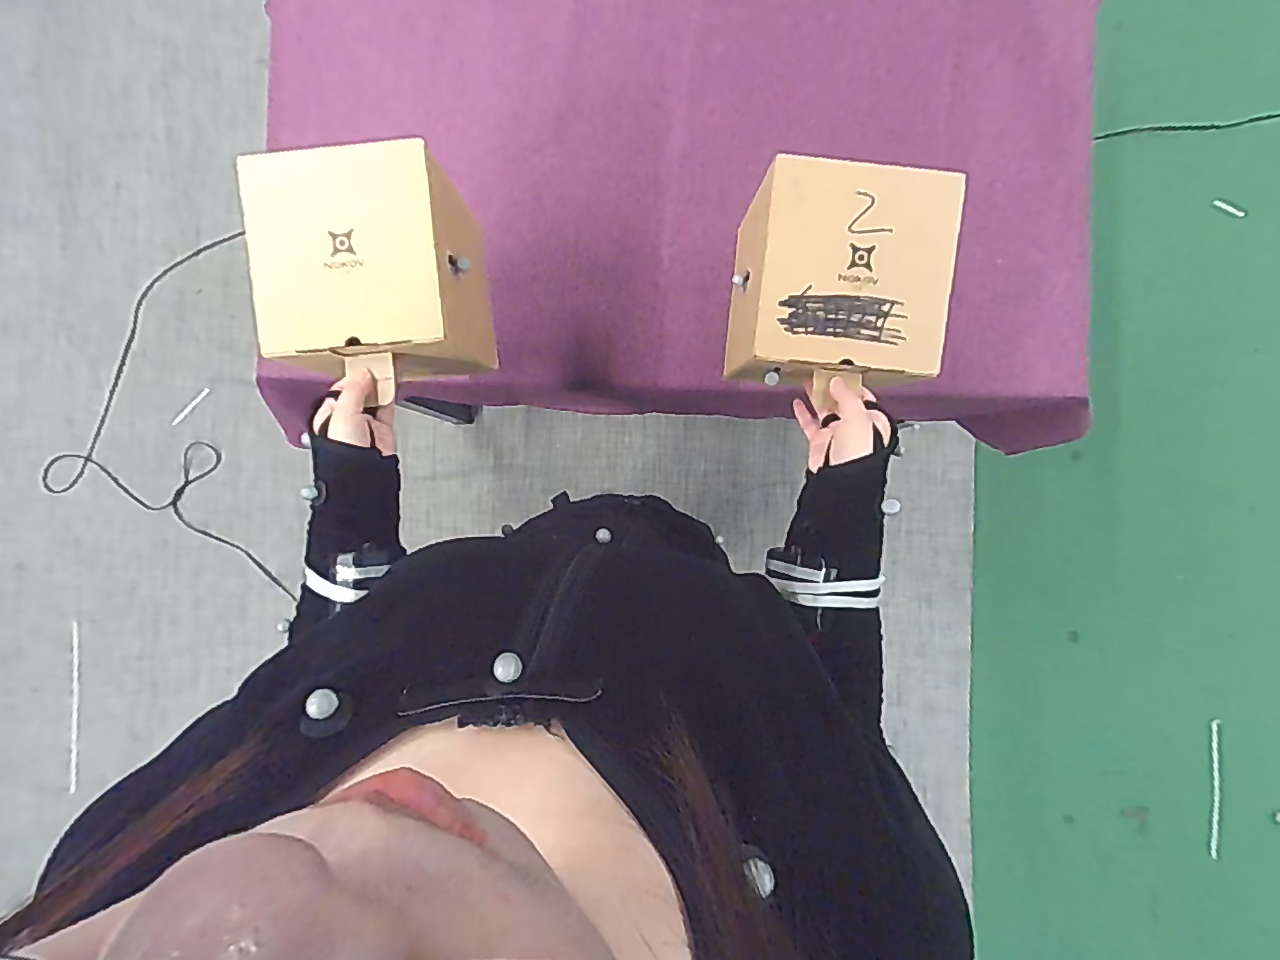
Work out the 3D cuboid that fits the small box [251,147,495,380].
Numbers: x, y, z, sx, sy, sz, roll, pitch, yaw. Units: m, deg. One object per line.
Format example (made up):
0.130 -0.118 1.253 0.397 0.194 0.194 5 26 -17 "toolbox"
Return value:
-0.260 -0.209 0.567 0.168 0.176 0.179 -5 93 1 "small box"
